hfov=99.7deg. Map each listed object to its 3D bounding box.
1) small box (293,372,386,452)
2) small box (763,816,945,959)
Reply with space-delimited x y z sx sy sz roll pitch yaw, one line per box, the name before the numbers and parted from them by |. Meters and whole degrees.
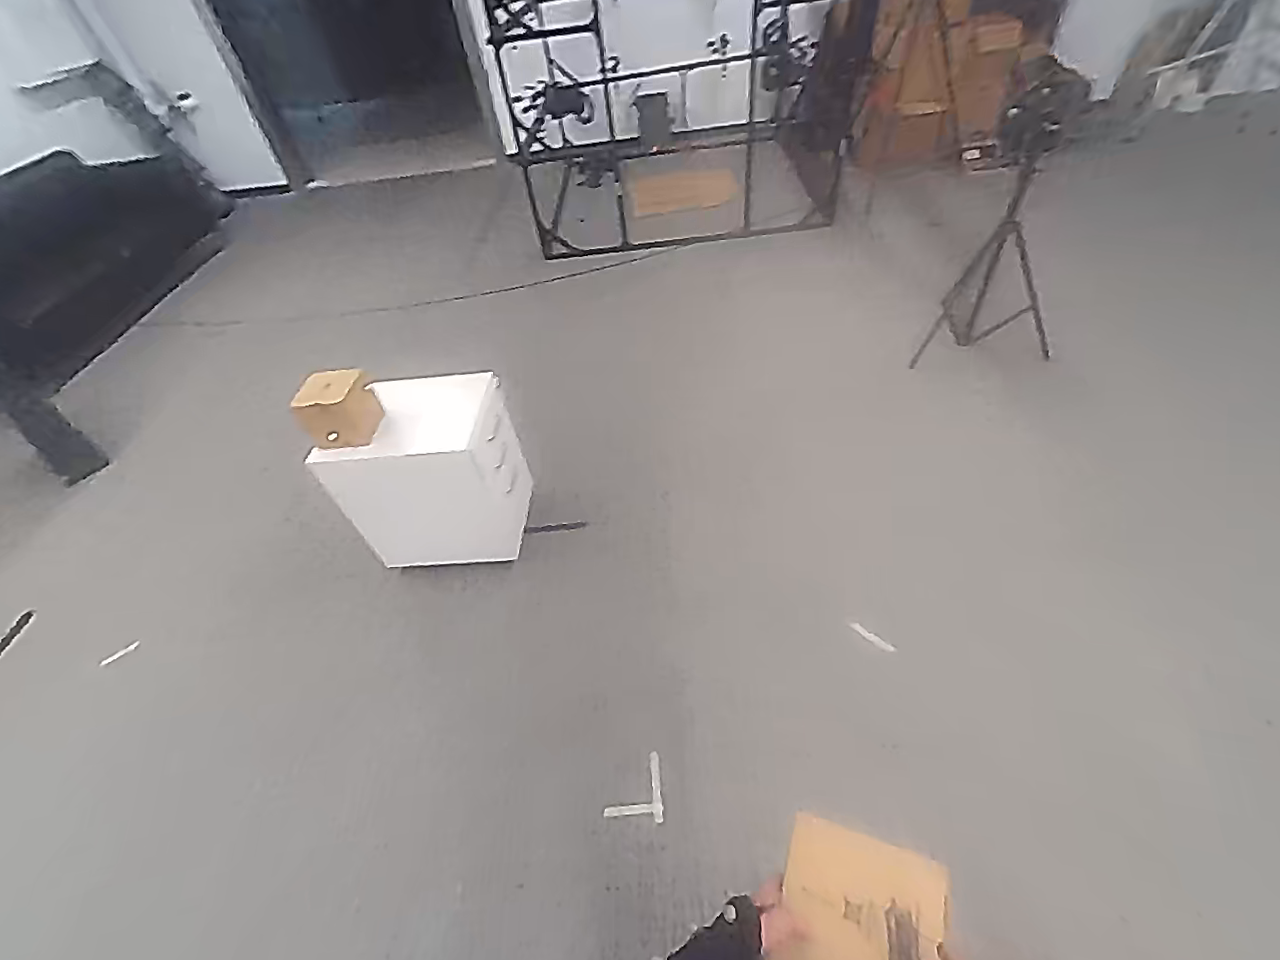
small box | -0.910 -0.208 1.660 0.168 0.176 0.179 -5 46 5
small box | 0.255 0.545 0.665 0.179 0.176 0.168 9 53 21
